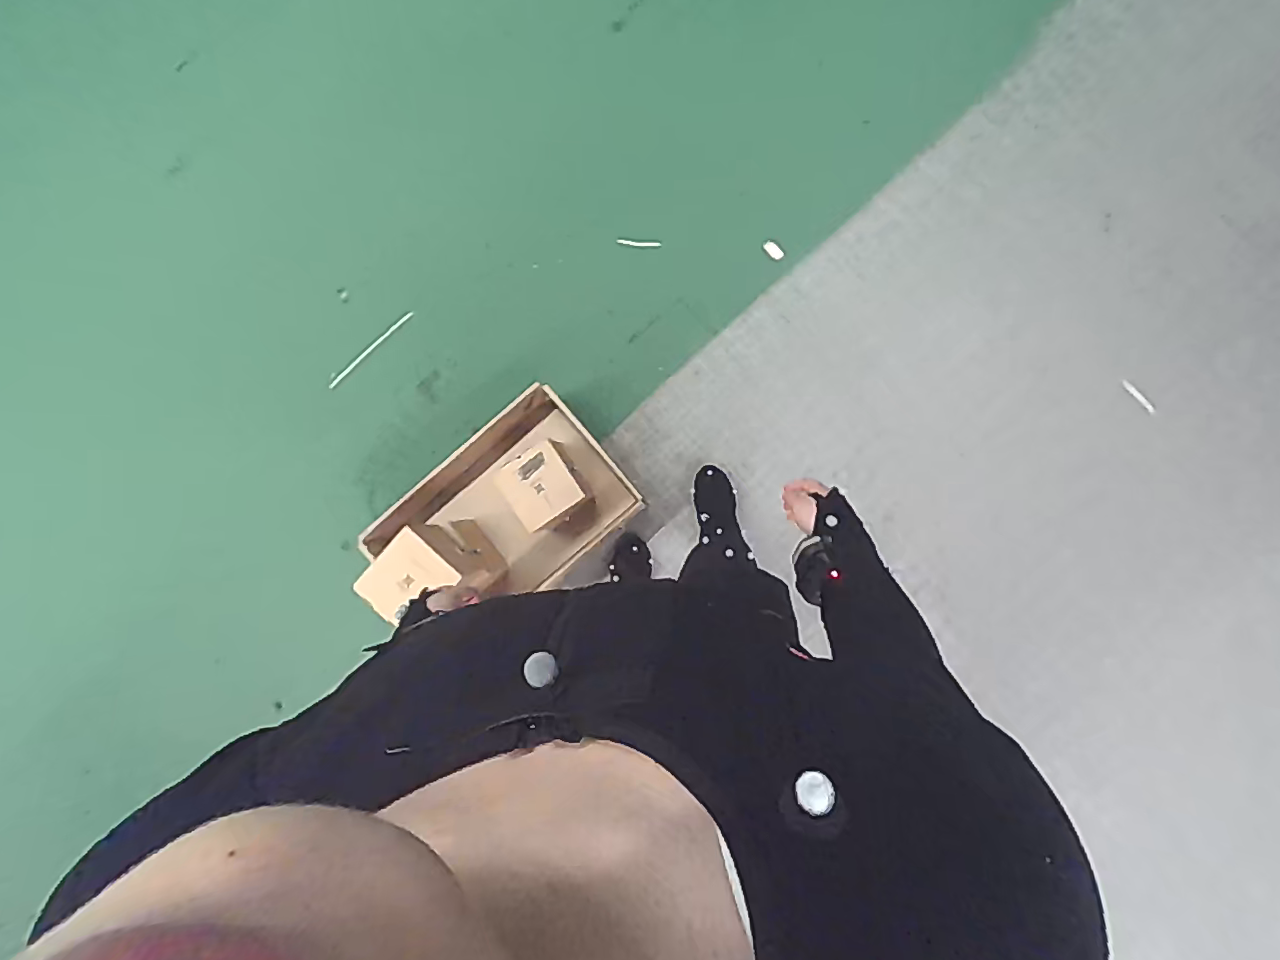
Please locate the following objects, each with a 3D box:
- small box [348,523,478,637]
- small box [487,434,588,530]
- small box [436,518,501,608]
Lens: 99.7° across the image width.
[{"bbox_3d":[-0.490,0.212,1.198,0.168,0.176,0.179,40,88,1],"label":"small box"},{"bbox_3d":[-0.251,0.006,1.361,0.168,0.176,0.179,-34,89,1],"label":"small box"},{"bbox_3d":[-0.482,0.213,1.363,0.179,0.176,0.168,-40,88,1],"label":"small box"}]
